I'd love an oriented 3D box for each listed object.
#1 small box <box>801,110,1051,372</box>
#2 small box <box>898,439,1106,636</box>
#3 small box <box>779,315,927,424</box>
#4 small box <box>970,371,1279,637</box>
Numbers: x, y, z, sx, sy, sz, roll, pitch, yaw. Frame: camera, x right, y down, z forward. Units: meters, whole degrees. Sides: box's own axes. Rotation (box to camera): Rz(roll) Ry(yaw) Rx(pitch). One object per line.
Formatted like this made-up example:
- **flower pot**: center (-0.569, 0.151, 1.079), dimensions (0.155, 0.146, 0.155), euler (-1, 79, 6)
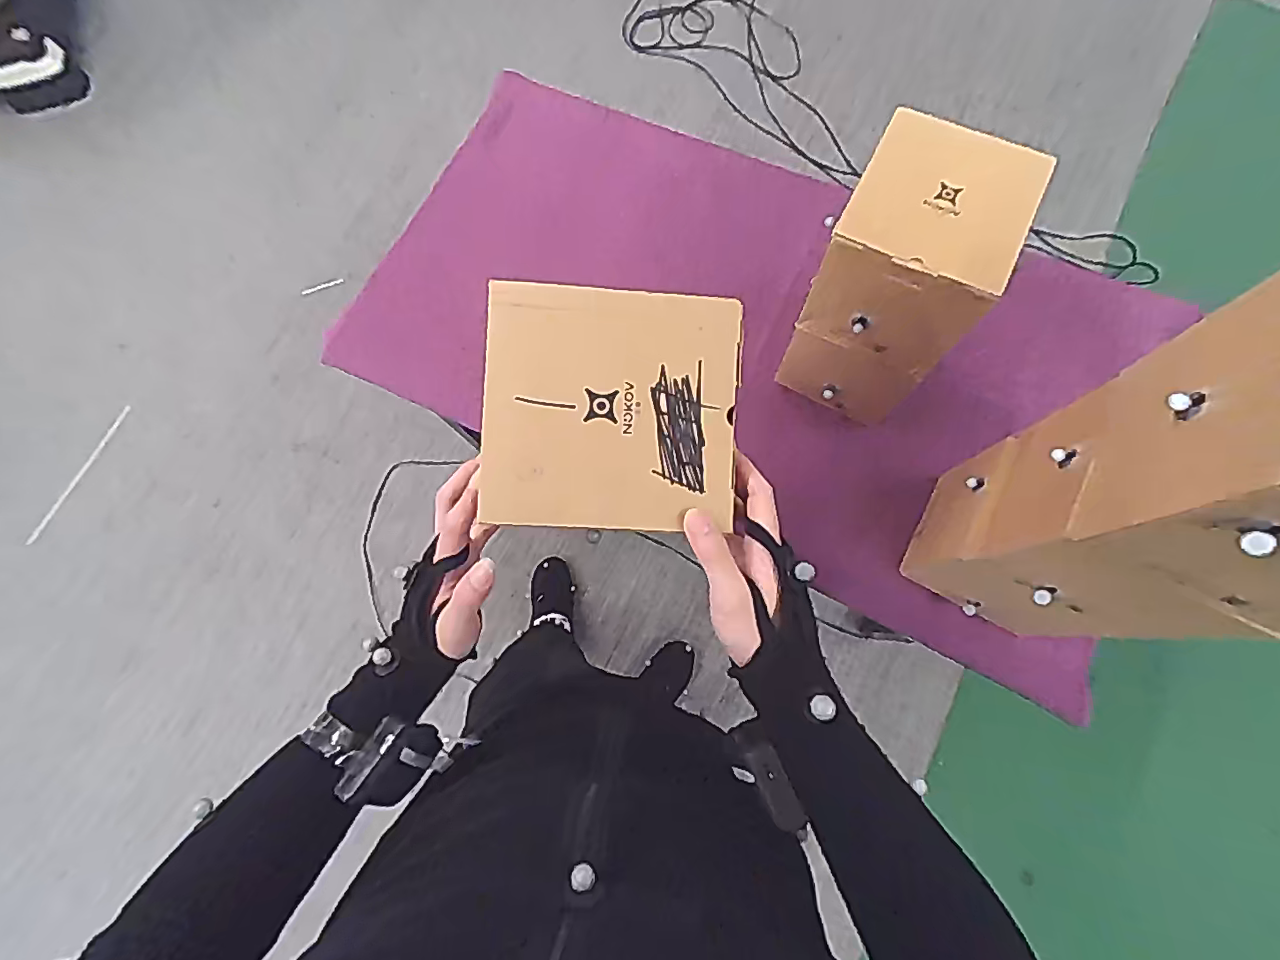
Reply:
- **small box**: center (0.302, -0.255, 0.610), dimensions (0.168, 0.176, 0.179), euler (26, 80, 9)
- **small box**: center (0.467, 0.079, 0.682), dimensions (0.179, 0.176, 0.168), euler (29, 78, 11)
- **small box**: center (0.316, -0.210, 0.765), dimensions (0.168, 0.176, 0.179), euler (29, 79, 10)
- **small box**: center (0.462, 0.033, 0.524), dimensions (0.168, 0.176, 0.179), euler (29, 78, 11)
